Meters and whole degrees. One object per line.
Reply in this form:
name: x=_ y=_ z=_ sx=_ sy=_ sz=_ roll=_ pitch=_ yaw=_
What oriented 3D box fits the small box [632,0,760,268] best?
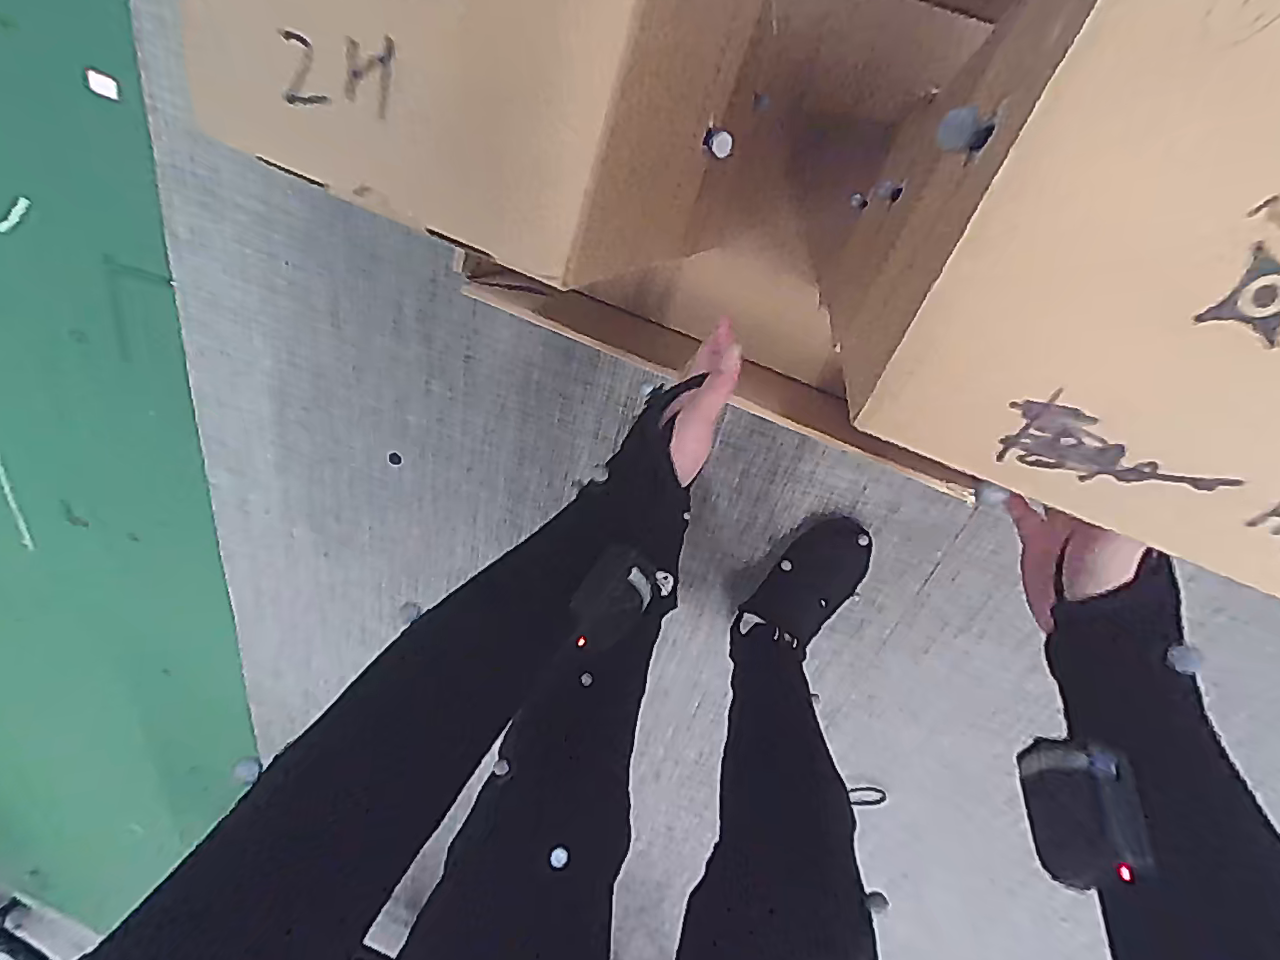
small box: x=-0.023 y=-0.273 z=0.386 sx=0.168 sy=0.176 sz=0.179 roll=23 pitch=119 yaw=4

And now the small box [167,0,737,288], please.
small box: x=-0.059 y=-0.208 z=0.240 sx=0.168 sy=0.176 sz=0.179 roll=24 pitch=119 yaw=4

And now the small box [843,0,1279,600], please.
small box: x=0.195 y=-0.092 z=0.217 sx=0.168 sy=0.176 sz=0.179 roll=24 pitch=118 yaw=7
